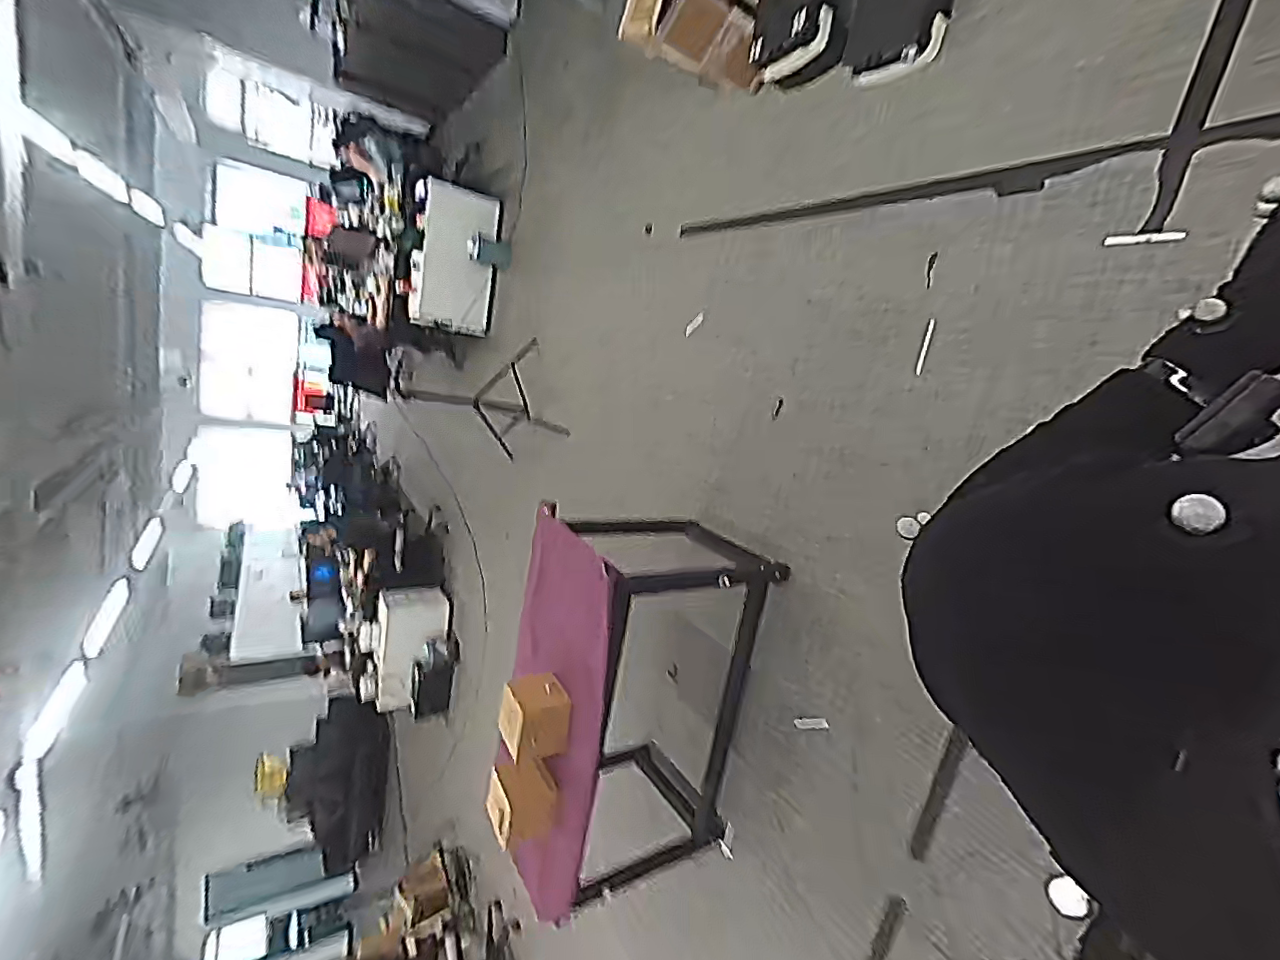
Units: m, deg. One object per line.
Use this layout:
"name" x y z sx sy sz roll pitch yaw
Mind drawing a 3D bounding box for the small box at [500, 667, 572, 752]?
"small box" -0.333 0.731 1.736 0.168 0.176 0.179 31 113 52
